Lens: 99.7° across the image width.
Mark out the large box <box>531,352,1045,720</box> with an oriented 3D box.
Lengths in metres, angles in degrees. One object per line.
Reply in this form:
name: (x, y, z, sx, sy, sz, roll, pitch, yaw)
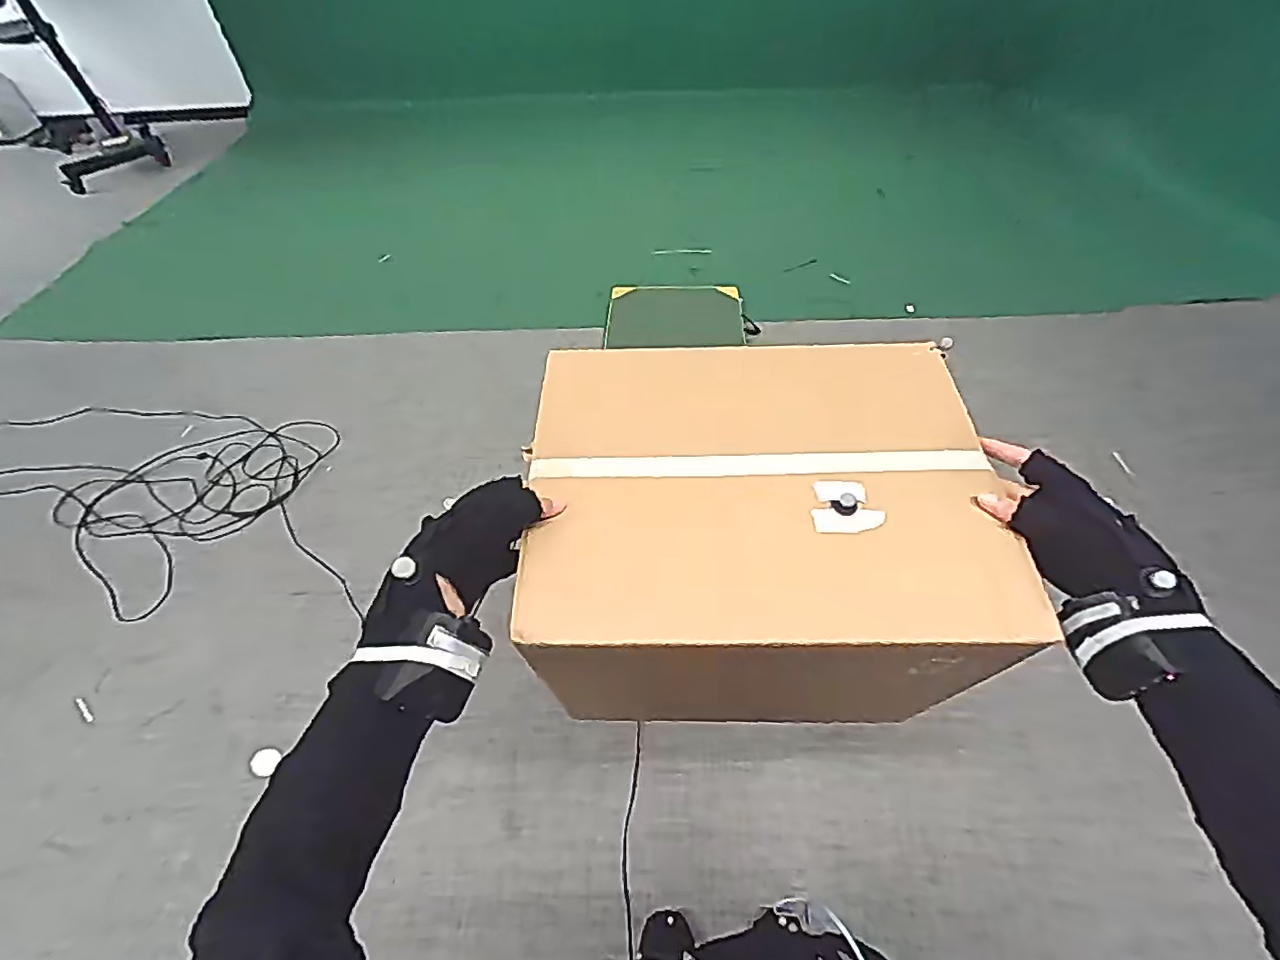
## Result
large box: (0.112, 0.077, 0.617, 0.408, 0.320, 0.320, -1, 56, 1)
